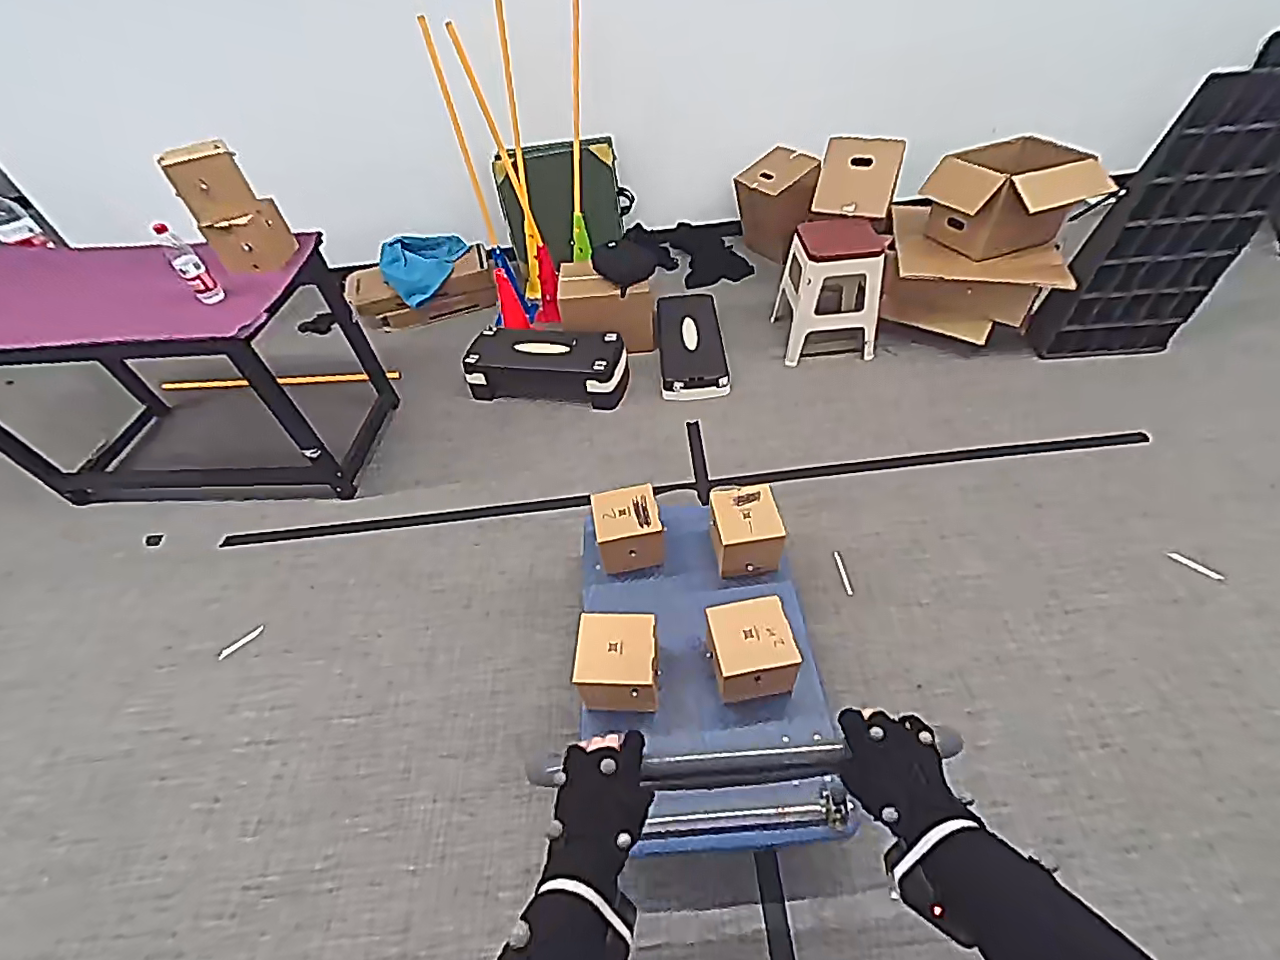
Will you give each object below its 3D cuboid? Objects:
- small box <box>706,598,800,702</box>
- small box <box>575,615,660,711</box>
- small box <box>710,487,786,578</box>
[{"bbox_3d":[0.257,0.401,1.267,0.179,0.176,0.168,-10,49,-2],"label":"small box"},{"bbox_3d":[-0.046,0.432,1.274,0.179,0.176,0.168,0,49,4],"label":"small box"},{"bbox_3d":[0.288,0.146,1.487,0.168,0.176,0.179,-8,50,-1],"label":"small box"}]
